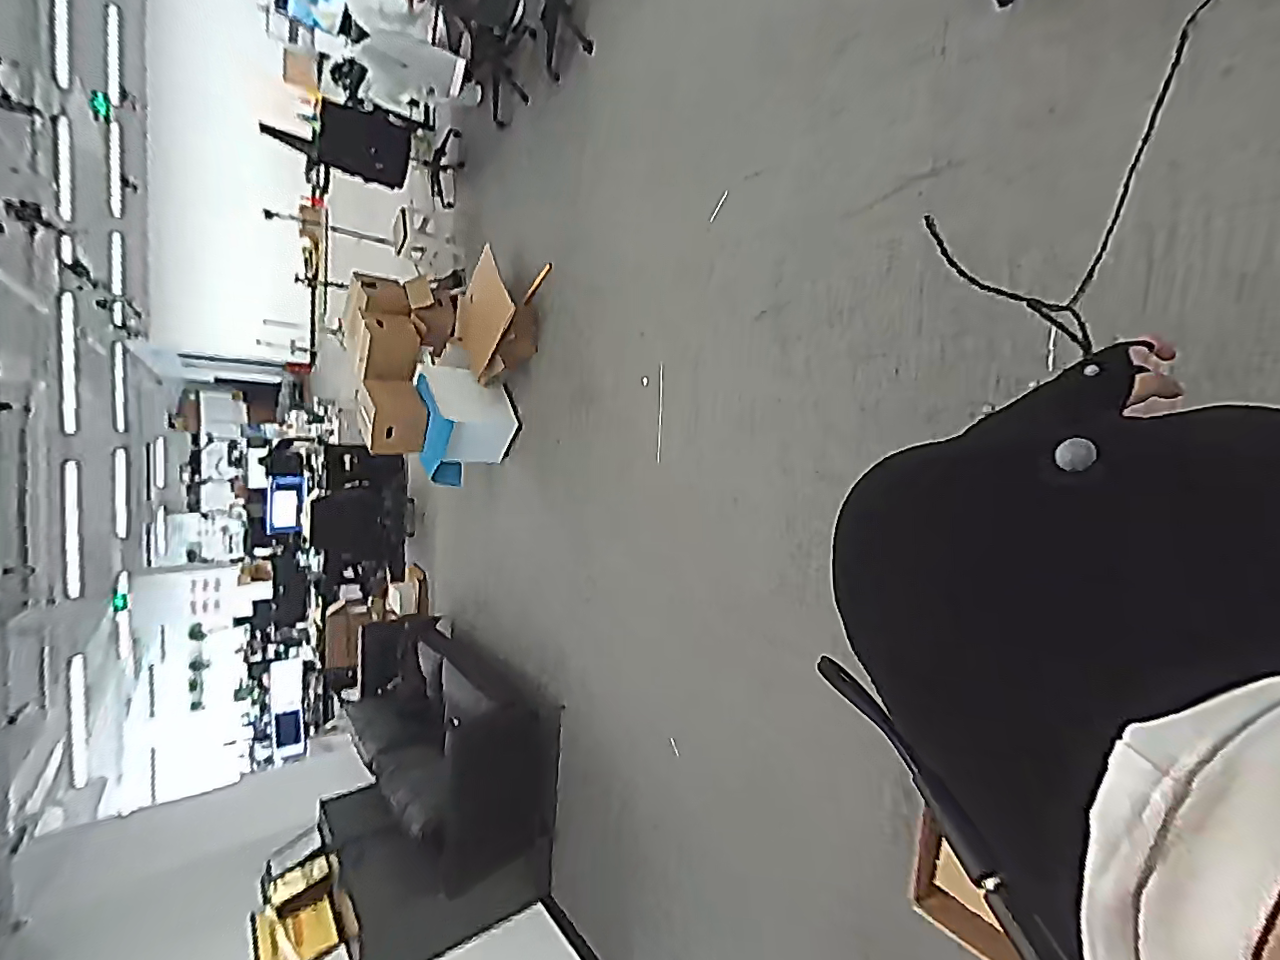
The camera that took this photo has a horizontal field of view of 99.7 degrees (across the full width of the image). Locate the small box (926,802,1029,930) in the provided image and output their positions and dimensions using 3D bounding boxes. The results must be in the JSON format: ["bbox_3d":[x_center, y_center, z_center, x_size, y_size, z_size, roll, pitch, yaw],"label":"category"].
[{"bbox_3d":[0.866,0.971,1.382,0.168,0.176,0.179,16,102,50],"label":"small box"}]
